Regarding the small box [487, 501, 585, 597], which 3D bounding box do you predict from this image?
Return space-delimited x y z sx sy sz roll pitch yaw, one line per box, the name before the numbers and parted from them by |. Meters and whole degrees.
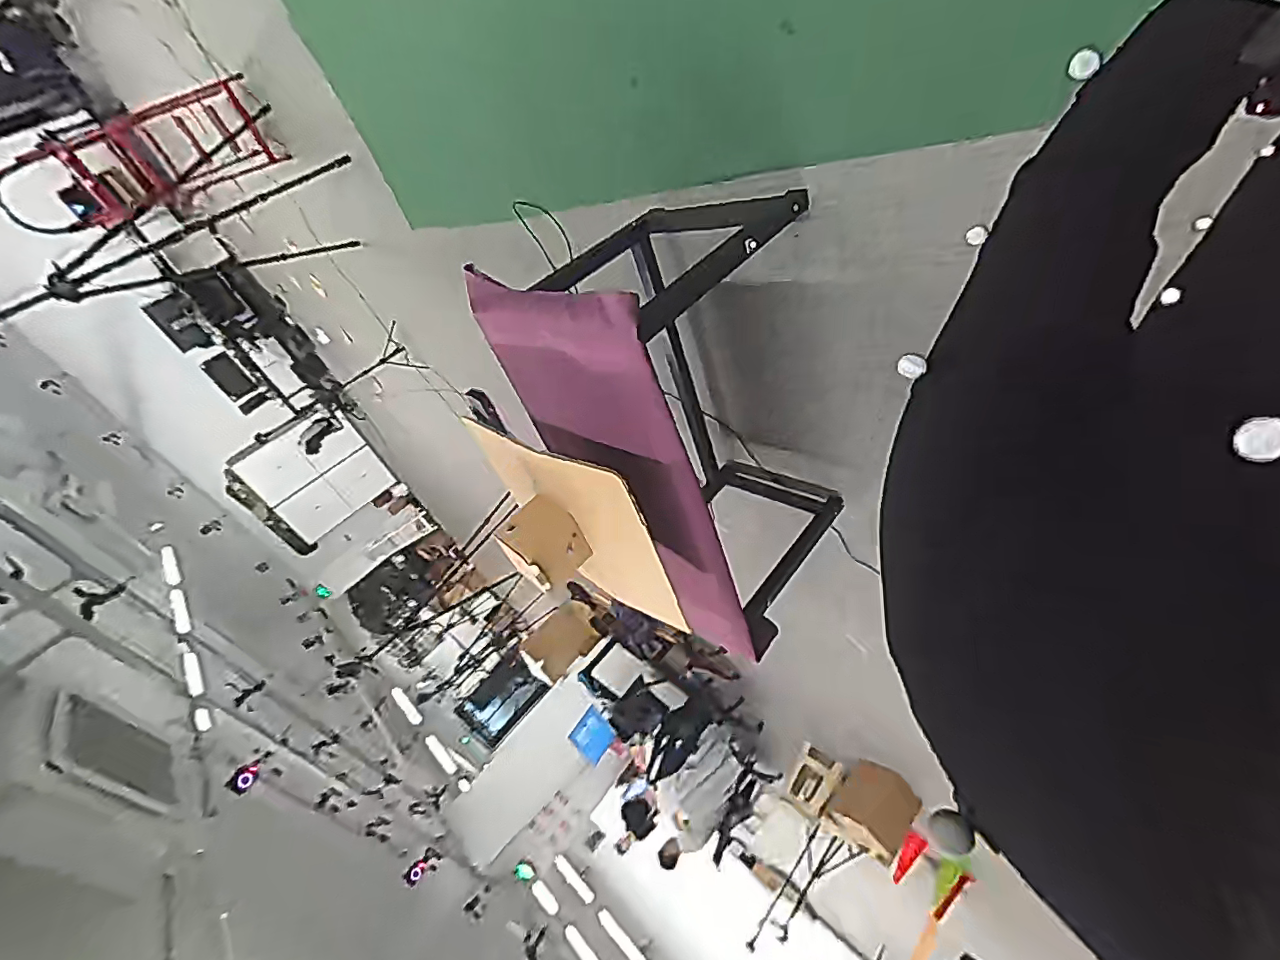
small box | -0.283 0.182 1.493 0.179 0.176 0.168 23 147 41
